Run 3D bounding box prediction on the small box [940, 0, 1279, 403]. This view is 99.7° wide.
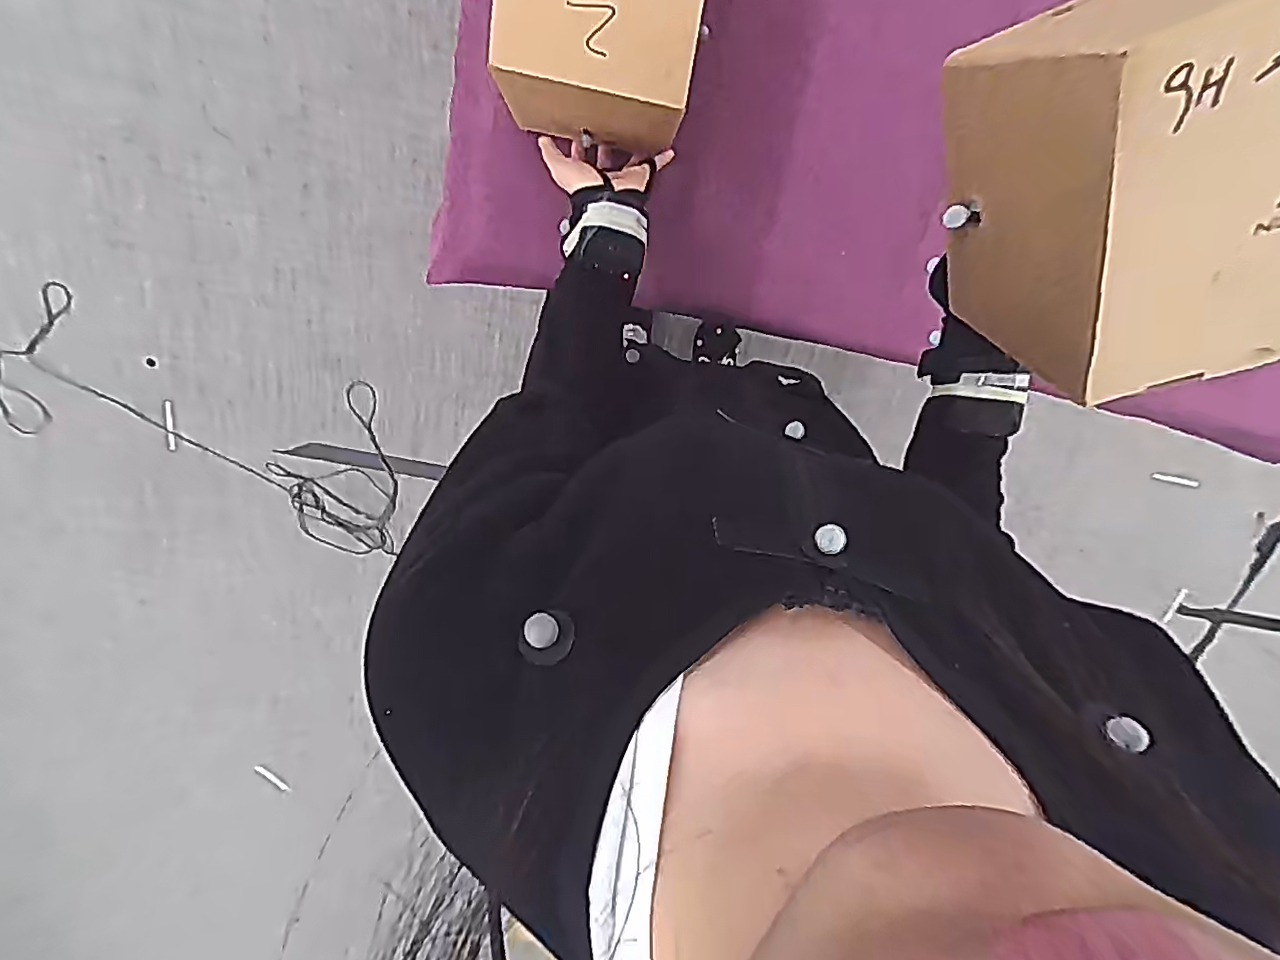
[{"bbox_3d":[0.297,-0.178,0.315,0.168,0.176,0.179,-17,125,11],"label":"small box"}]

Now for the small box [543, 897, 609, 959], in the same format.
[{"bbox_3d":[-0.207,1.502,1.759,0.179,0.176,0.168,18,110,-9],"label":"small box"}]
